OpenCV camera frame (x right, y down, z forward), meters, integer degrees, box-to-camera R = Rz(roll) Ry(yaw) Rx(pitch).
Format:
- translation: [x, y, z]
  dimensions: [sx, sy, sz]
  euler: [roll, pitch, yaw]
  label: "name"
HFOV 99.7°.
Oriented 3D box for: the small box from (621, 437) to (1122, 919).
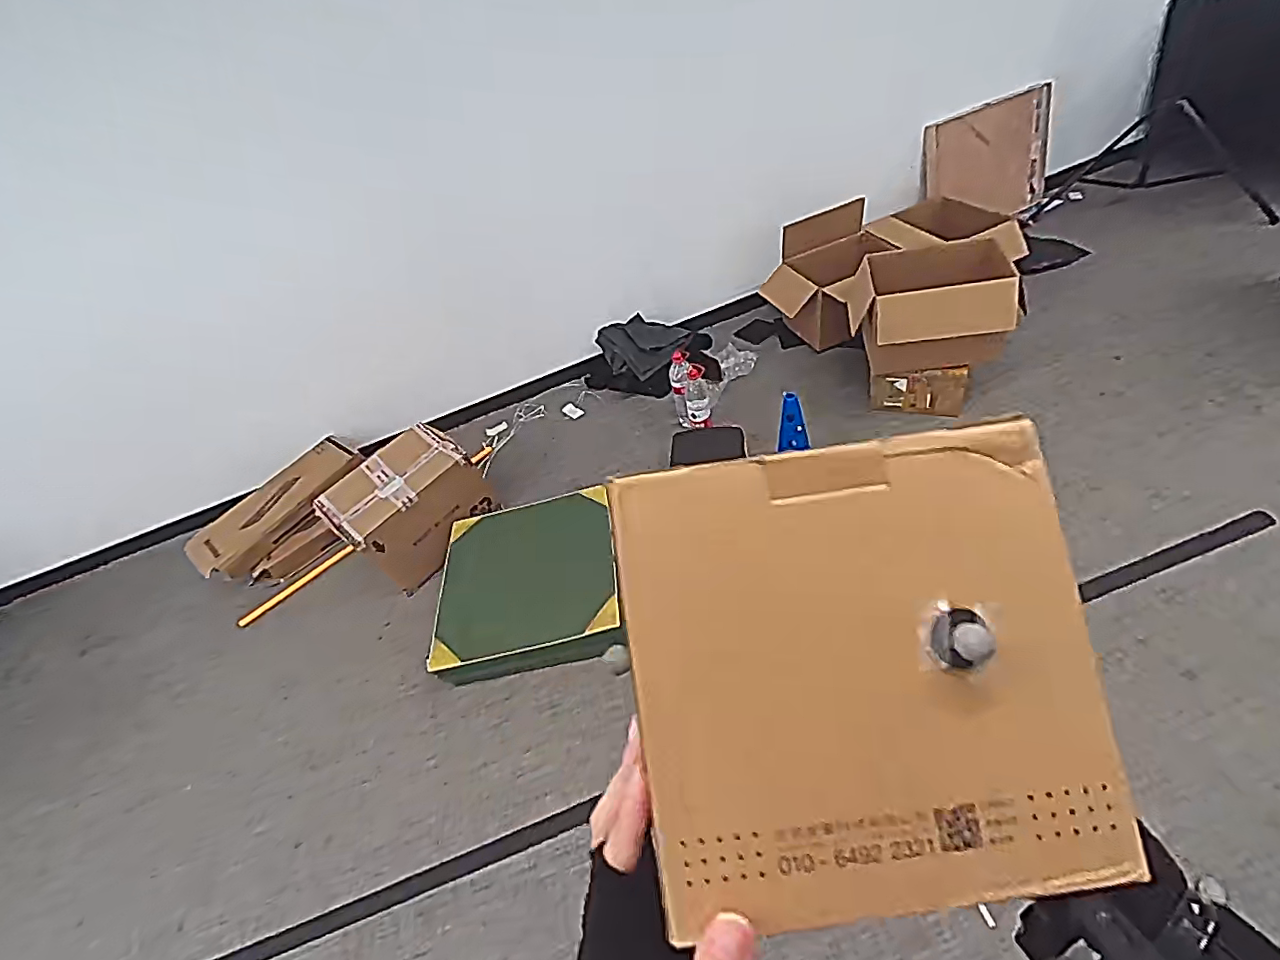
- translation: [0.088, 0.087, 0.281]
  dimensions: [0.168, 0.179, 0.176]
  euler: [-8, 82, 1]
  label: "small box"
